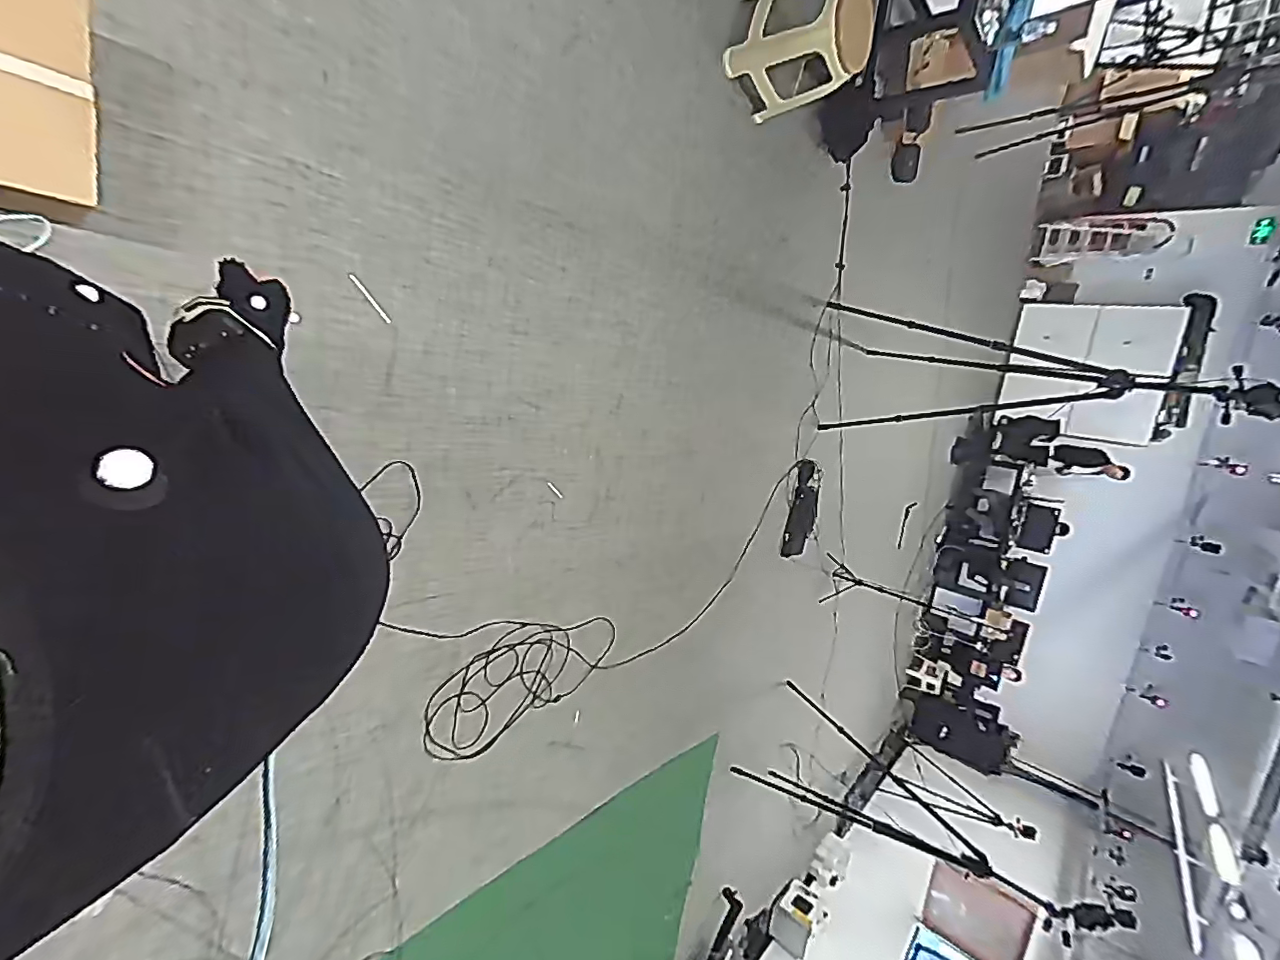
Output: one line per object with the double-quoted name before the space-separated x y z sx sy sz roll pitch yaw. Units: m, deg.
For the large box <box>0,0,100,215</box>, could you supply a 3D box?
"large box" -1.039 -0.596 0.734 0.408 0.320 0.320 -3 106 -49
